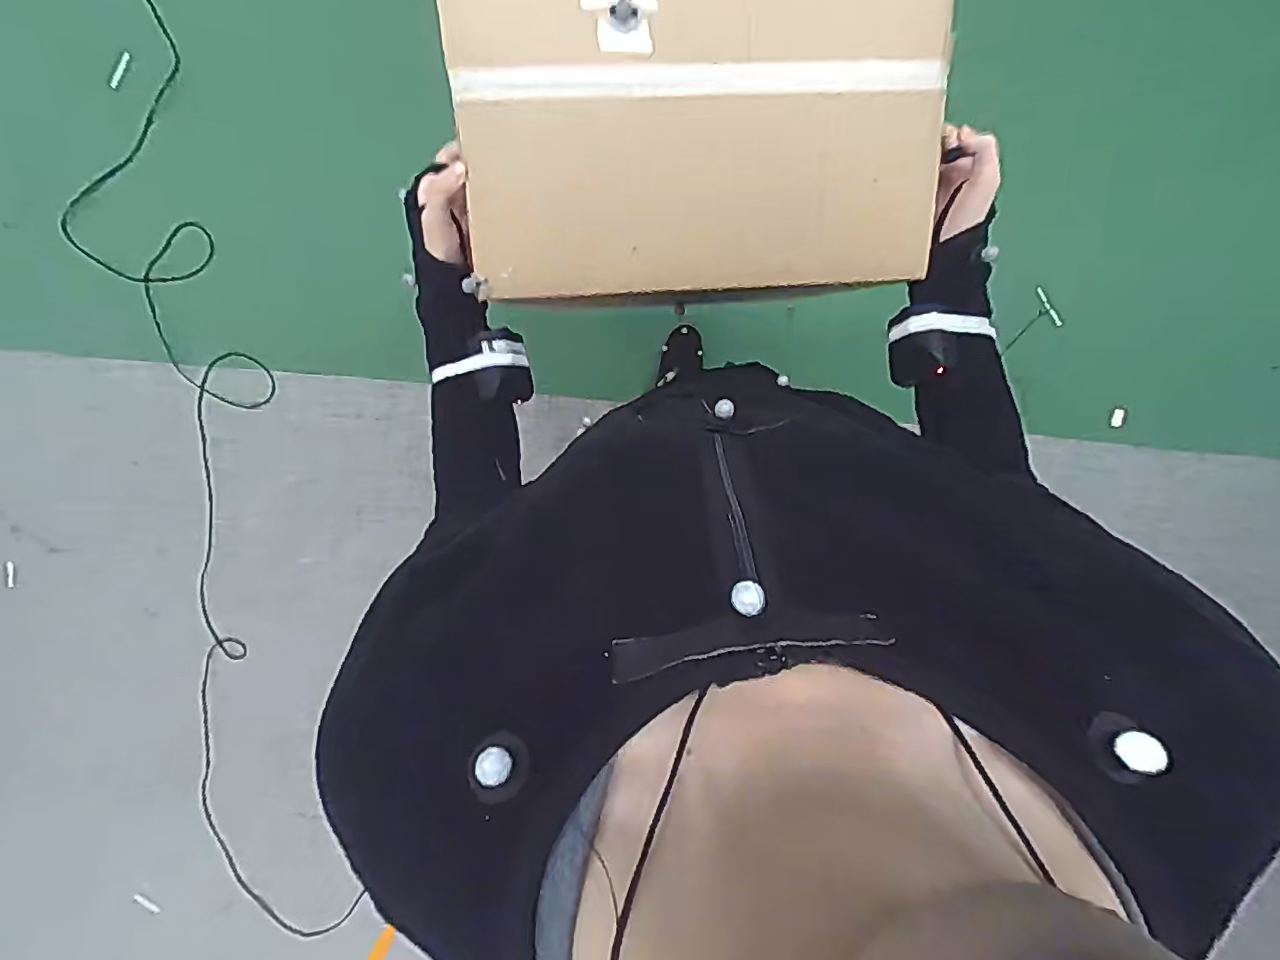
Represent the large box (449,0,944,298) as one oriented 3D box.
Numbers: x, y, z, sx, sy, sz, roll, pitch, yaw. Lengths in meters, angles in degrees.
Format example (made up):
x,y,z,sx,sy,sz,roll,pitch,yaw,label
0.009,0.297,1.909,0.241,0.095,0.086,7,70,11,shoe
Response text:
x,y,z,sx,sy,sz,roll,pitch,yaw,label
0.043,-0.372,0.585,0.408,0.320,0.320,-4,106,-4,large box
